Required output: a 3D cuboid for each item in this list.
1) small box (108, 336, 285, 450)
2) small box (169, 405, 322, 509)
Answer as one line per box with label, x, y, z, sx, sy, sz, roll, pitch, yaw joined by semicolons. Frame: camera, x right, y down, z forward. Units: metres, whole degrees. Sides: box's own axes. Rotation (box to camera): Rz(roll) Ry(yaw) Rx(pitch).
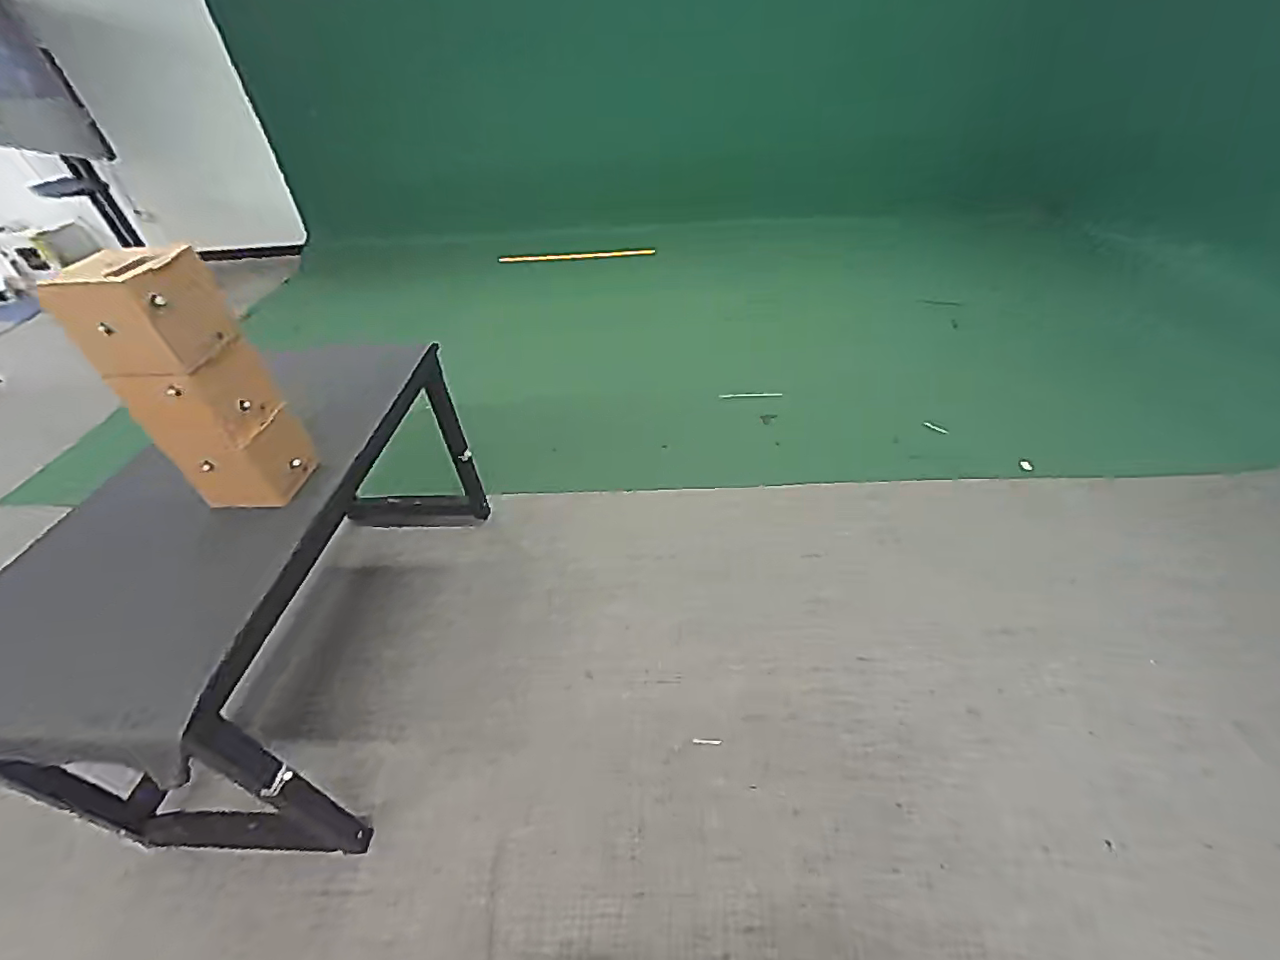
small box;-0.870;-0.171;1.081;0.179;0.176;0.168;0;41;6
small box;-0.849;-0.049;1.185;0.179;0.176;0.168;-1;42;5
